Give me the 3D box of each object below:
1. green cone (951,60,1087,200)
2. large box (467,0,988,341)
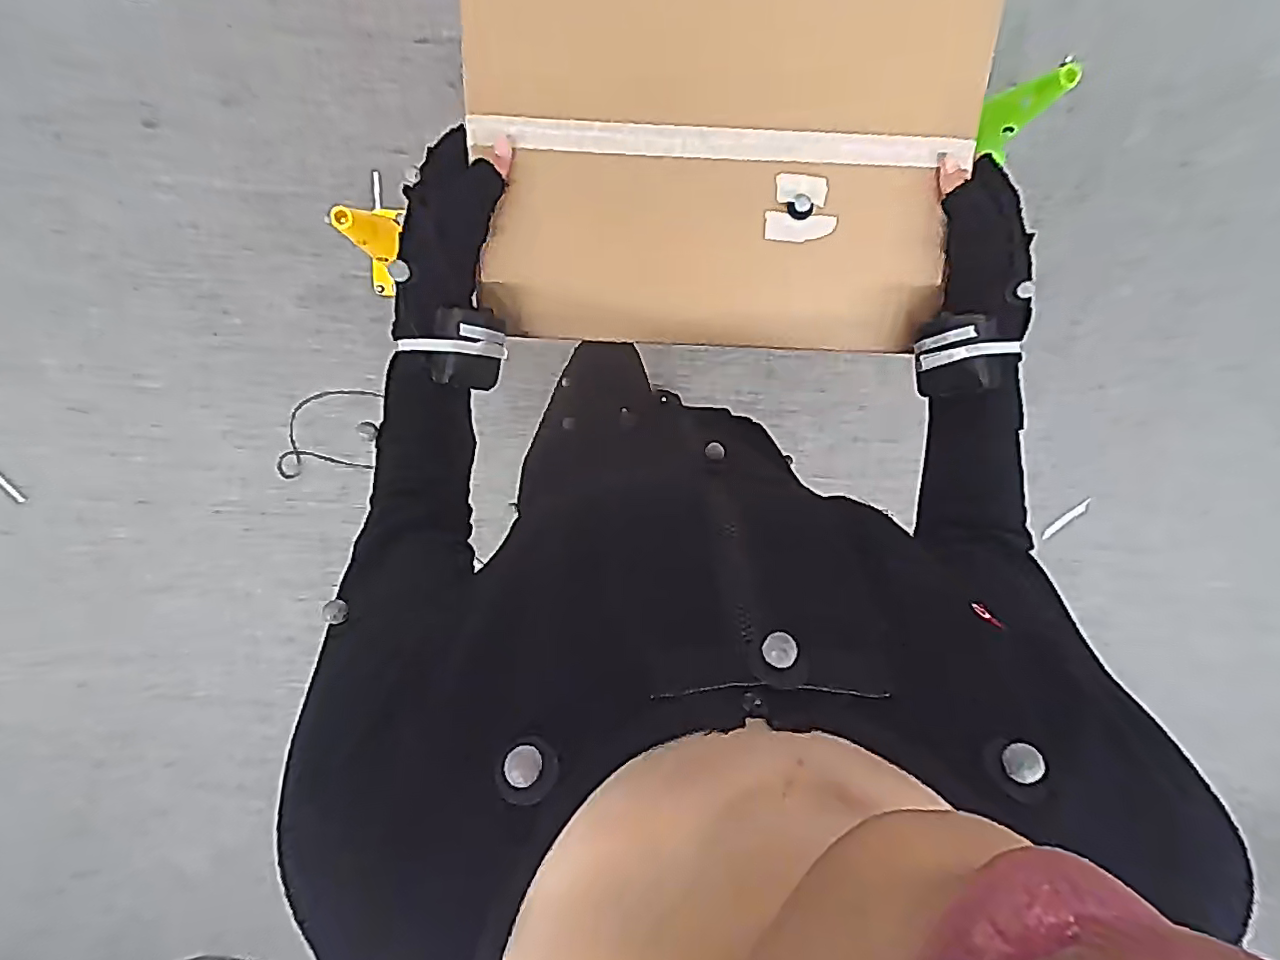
[{"bbox_3d":[0.777,-0.771,1.154,0.202,0.368,0.200,-34,102,4],"label":"green cone"},{"bbox_3d":[0.060,-0.321,0.580,0.408,0.320,0.320,2,109,-2],"label":"large box"}]
